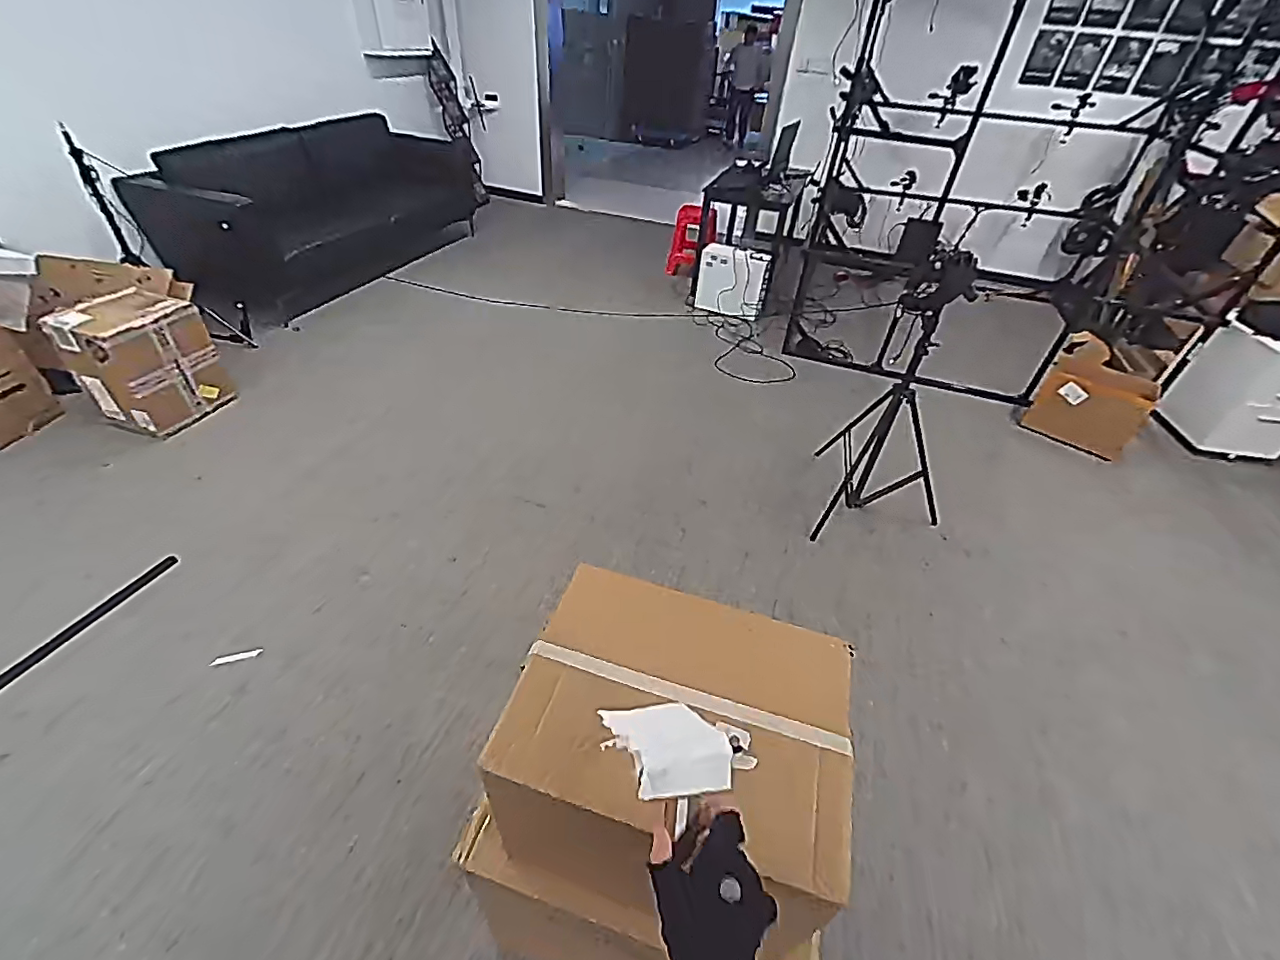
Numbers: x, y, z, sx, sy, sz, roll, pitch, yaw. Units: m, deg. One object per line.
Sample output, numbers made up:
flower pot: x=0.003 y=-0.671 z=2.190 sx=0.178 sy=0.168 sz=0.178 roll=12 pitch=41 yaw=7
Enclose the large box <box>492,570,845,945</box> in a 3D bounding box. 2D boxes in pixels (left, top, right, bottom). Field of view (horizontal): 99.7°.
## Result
large box: x=0.046 y=0.387 z=0.787 sx=0.408 sy=0.320 sz=0.320 roll=14 pitch=41 yaw=10
